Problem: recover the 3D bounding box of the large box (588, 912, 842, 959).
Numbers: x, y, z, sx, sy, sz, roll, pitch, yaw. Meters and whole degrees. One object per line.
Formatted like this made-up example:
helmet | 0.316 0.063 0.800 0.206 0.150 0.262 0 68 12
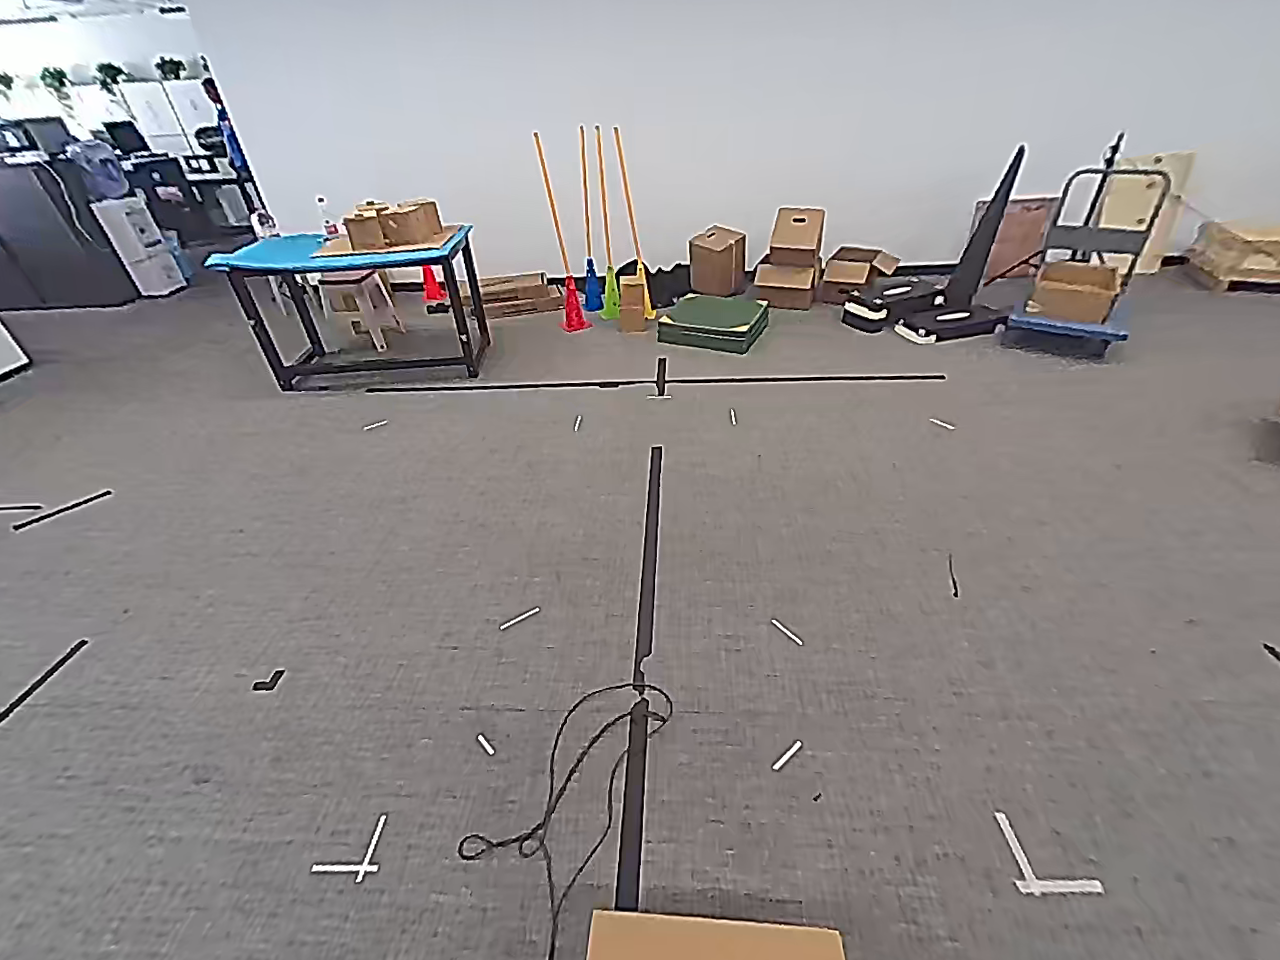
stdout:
large box | 0.114 0.937 0.853 0.408 0.320 0.320 1 37 5
